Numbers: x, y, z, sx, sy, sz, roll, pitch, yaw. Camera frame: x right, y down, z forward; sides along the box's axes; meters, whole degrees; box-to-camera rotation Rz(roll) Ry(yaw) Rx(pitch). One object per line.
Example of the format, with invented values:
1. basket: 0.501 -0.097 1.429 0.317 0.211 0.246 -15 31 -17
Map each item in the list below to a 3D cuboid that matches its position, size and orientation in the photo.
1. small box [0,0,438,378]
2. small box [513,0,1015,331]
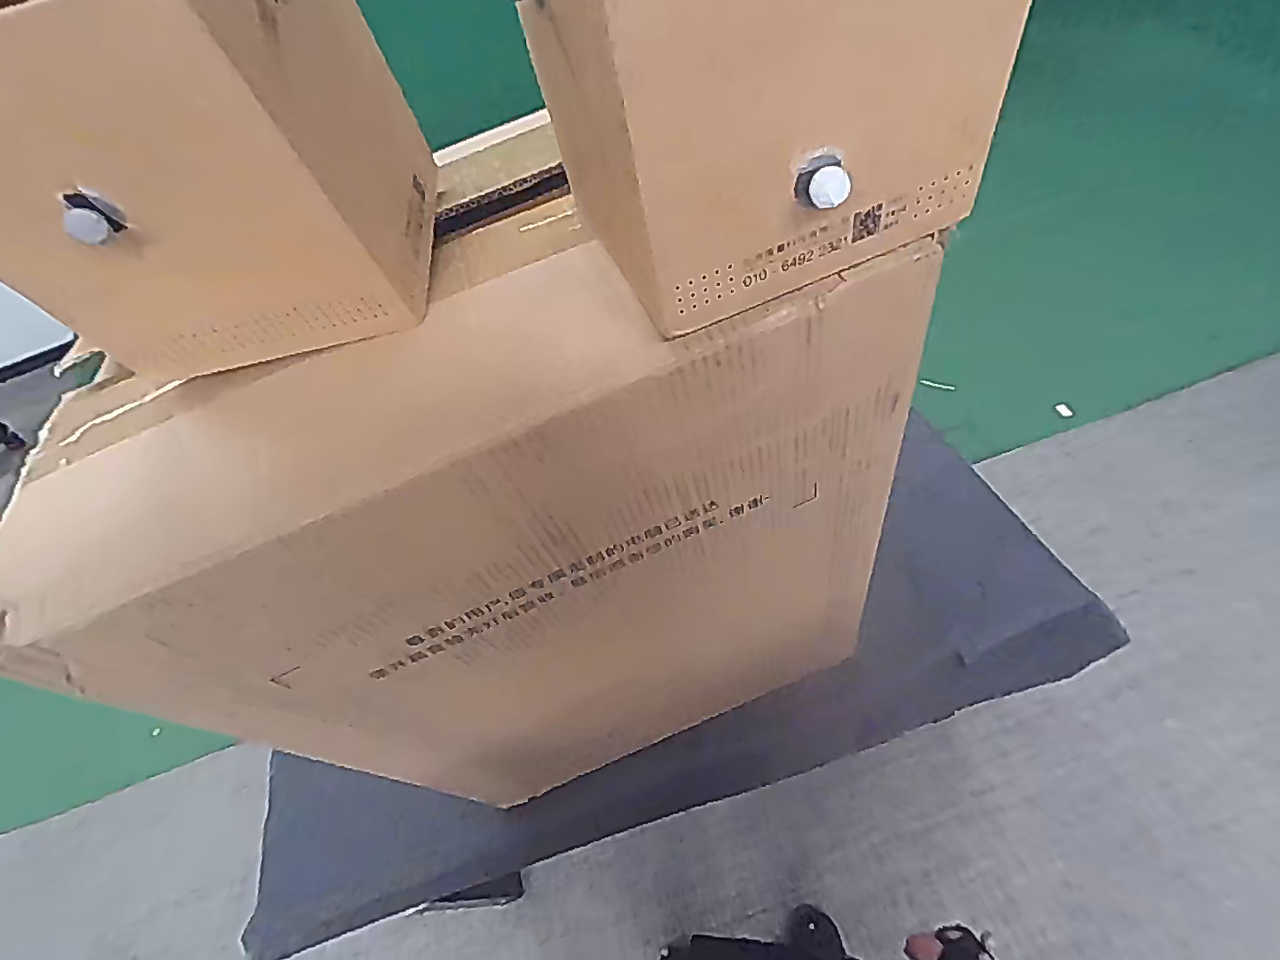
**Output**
1. small box: -0.237 -0.178 0.293 0.179 0.176 0.168 -12 61 6
2. small box: 0.039 -0.203 0.252 0.168 0.176 0.179 -23 53 -3
